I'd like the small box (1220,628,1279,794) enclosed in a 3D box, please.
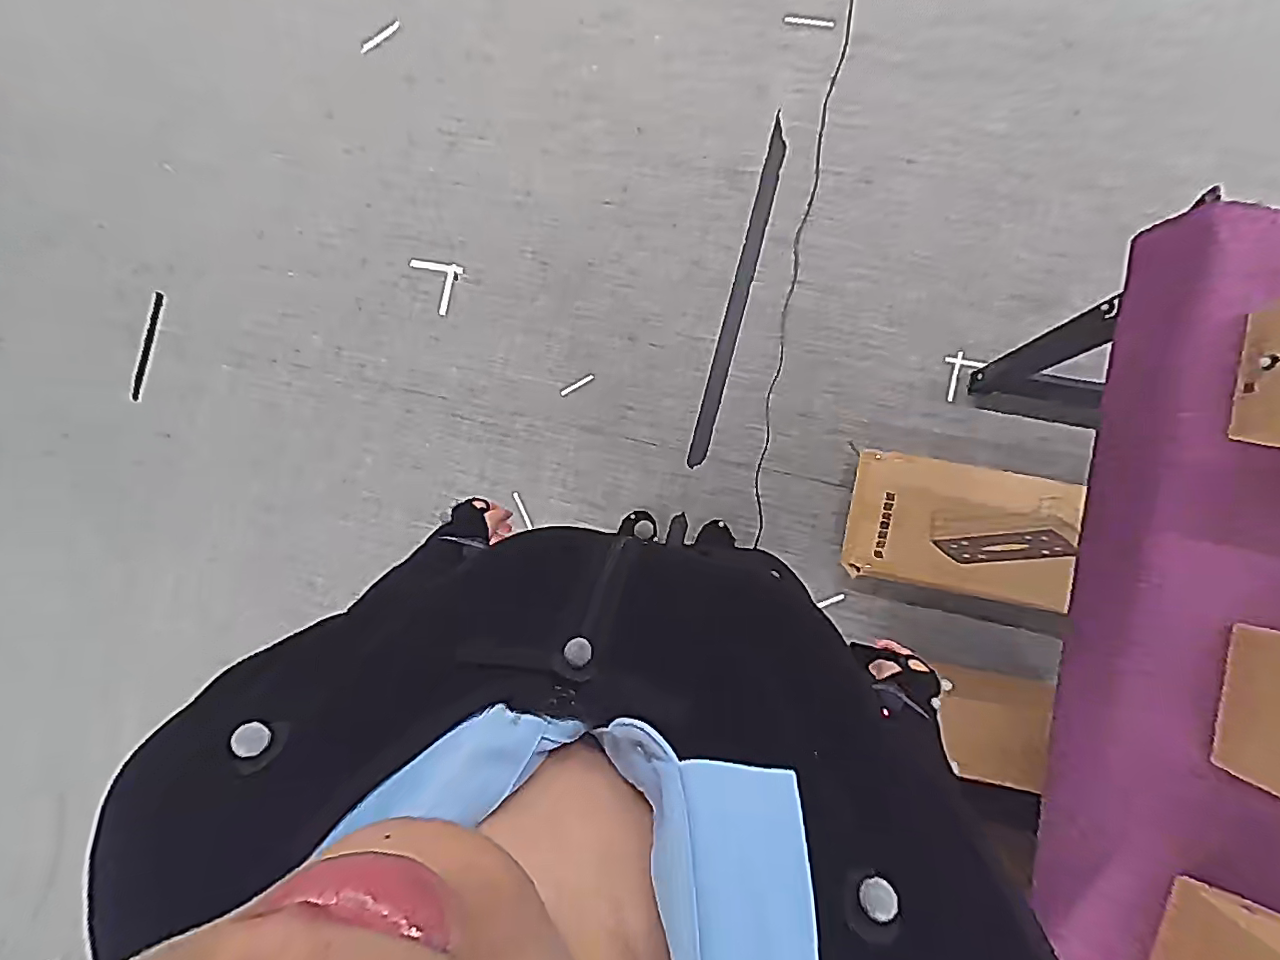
[{"bbox_3d":[0.782,0.274,0.568,0.168,0.176,0.179,12,88,6],"label":"small box"}]

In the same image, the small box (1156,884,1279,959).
[{"bbox_3d":[0.694,0.580,0.563,0.168,0.176,0.179,19,90,9],"label":"small box"}]
